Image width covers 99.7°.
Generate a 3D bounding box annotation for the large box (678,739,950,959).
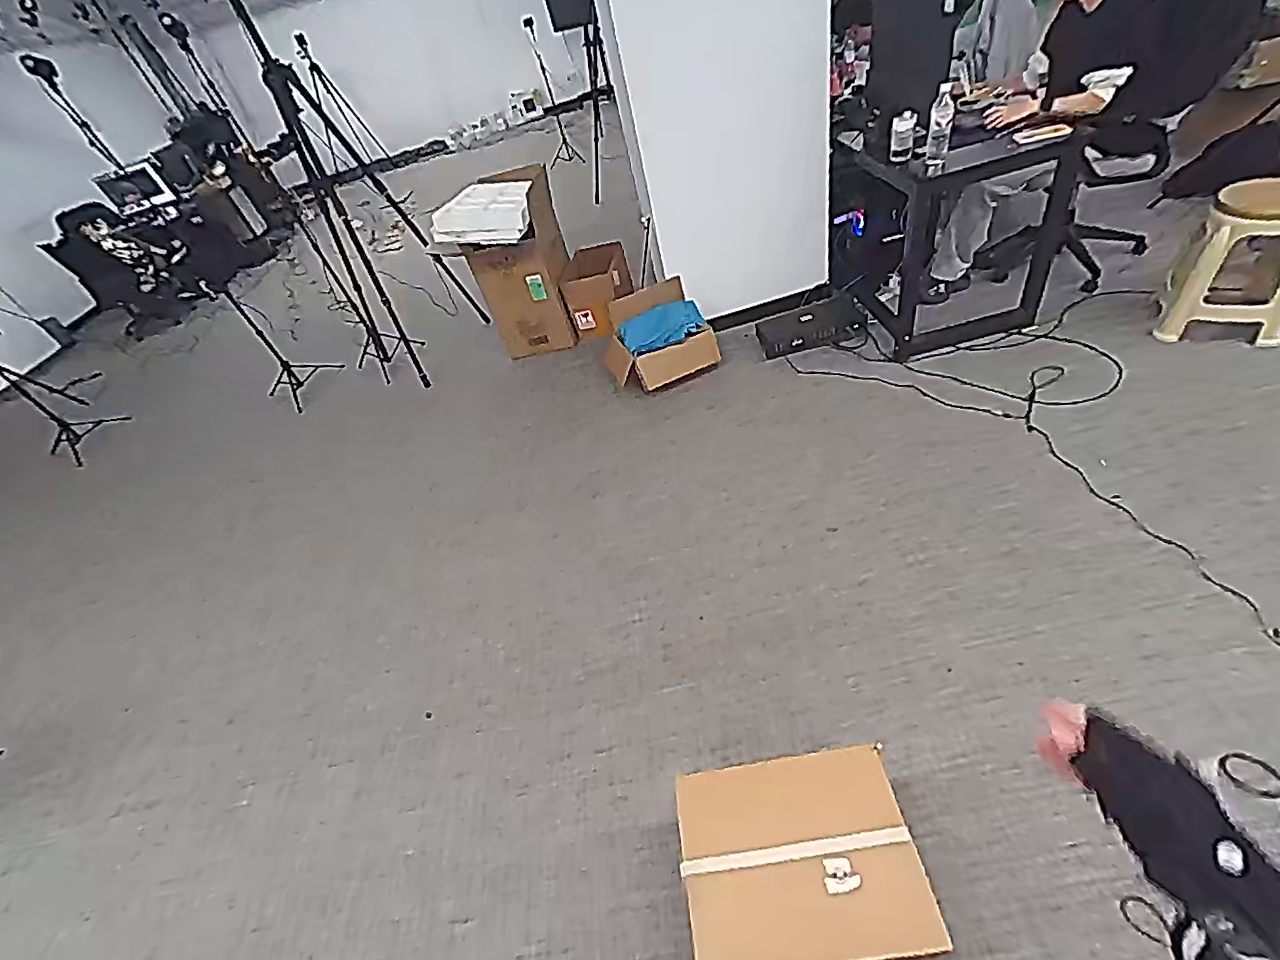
[{"bbox_3d":[0.314,0.763,1.069,0.408,0.320,0.320,-13,43,5],"label":"large box"}]
